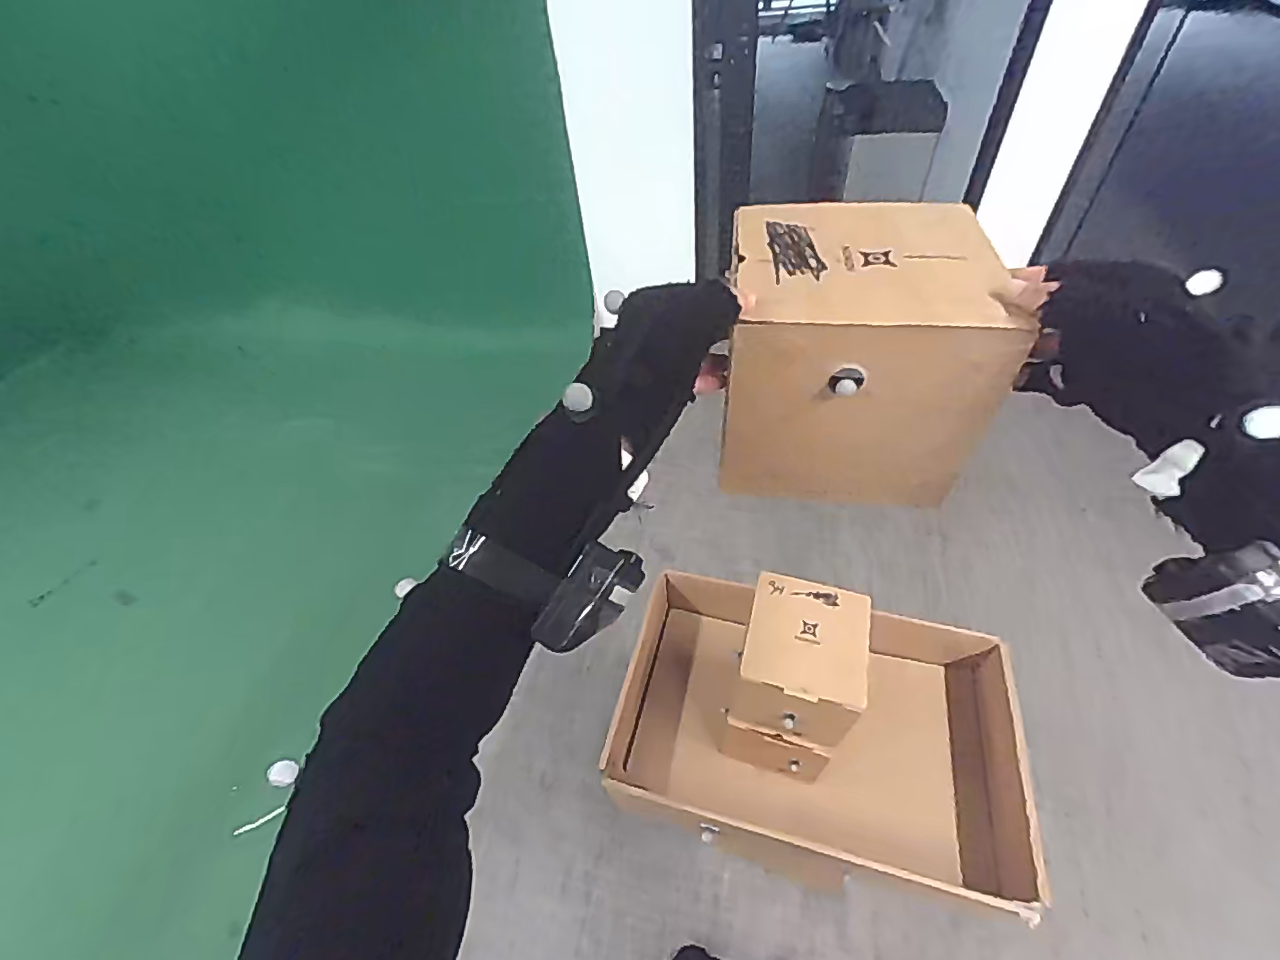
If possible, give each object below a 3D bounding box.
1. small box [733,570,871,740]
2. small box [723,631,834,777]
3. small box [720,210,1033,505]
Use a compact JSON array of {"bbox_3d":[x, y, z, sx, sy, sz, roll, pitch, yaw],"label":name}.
[{"bbox_3d":[0.240,0.270,0.826,0.168,0.176,0.179,13,51,13],"label":"small box"},{"bbox_3d":[0.243,0.386,0.942,0.168,0.176,0.179,13,49,14],"label":"small box"},{"bbox_3d":[0.157,-0.095,0.433,0.179,0.176,0.168,4,49,7],"label":"small box"}]
